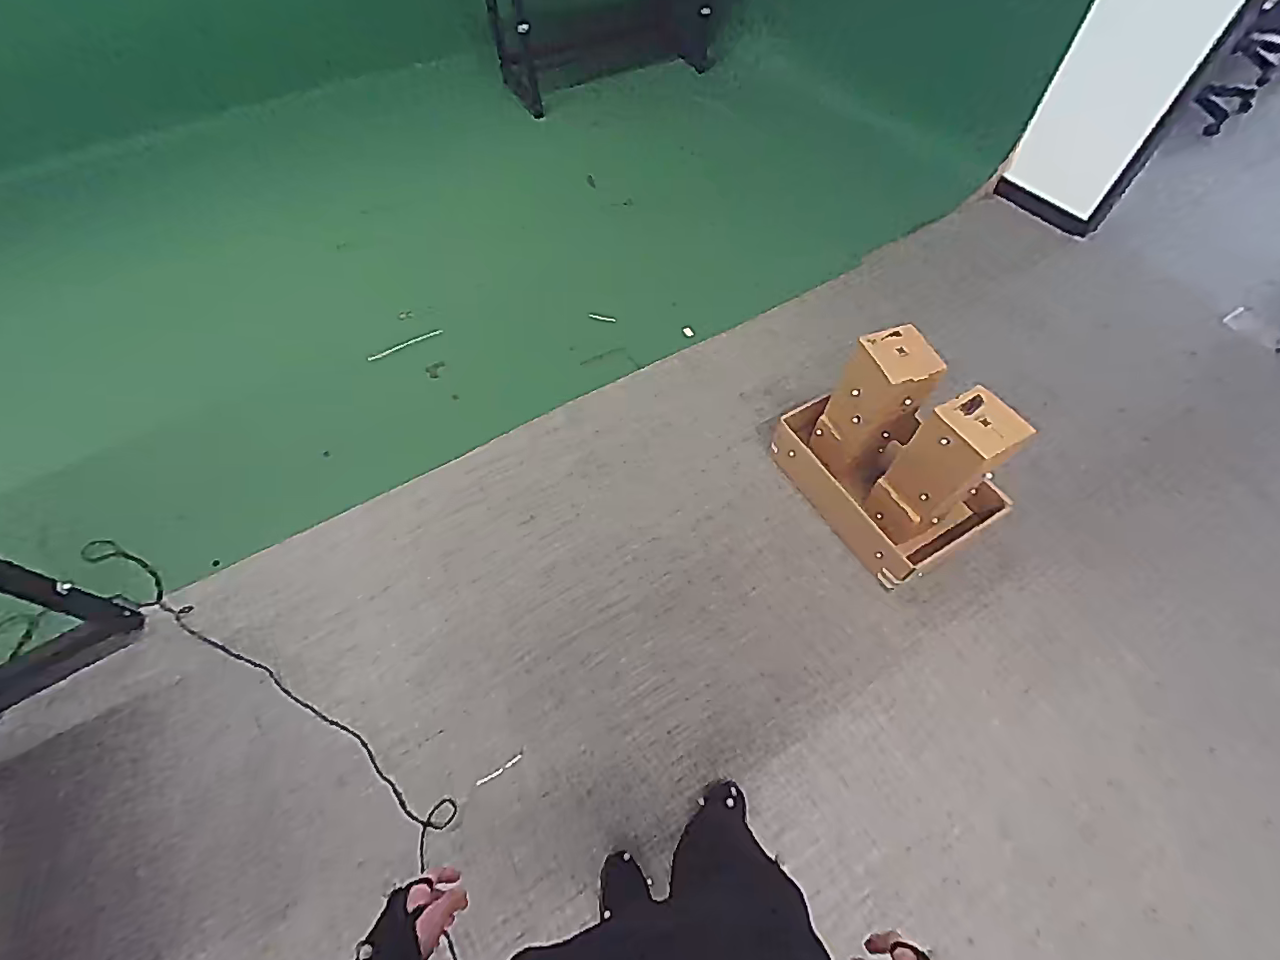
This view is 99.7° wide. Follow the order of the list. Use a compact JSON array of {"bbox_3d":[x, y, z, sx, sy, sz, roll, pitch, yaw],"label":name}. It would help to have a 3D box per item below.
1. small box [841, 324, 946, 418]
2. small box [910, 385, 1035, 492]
[{"bbox_3d":[0.686,-0.290,1.484,0.168,0.176,0.179,-16,62,-9],"label":"small box"},{"bbox_3d":[0.827,-0.101,1.368,0.168,0.176,0.179,-26,61,-13],"label":"small box"}]
